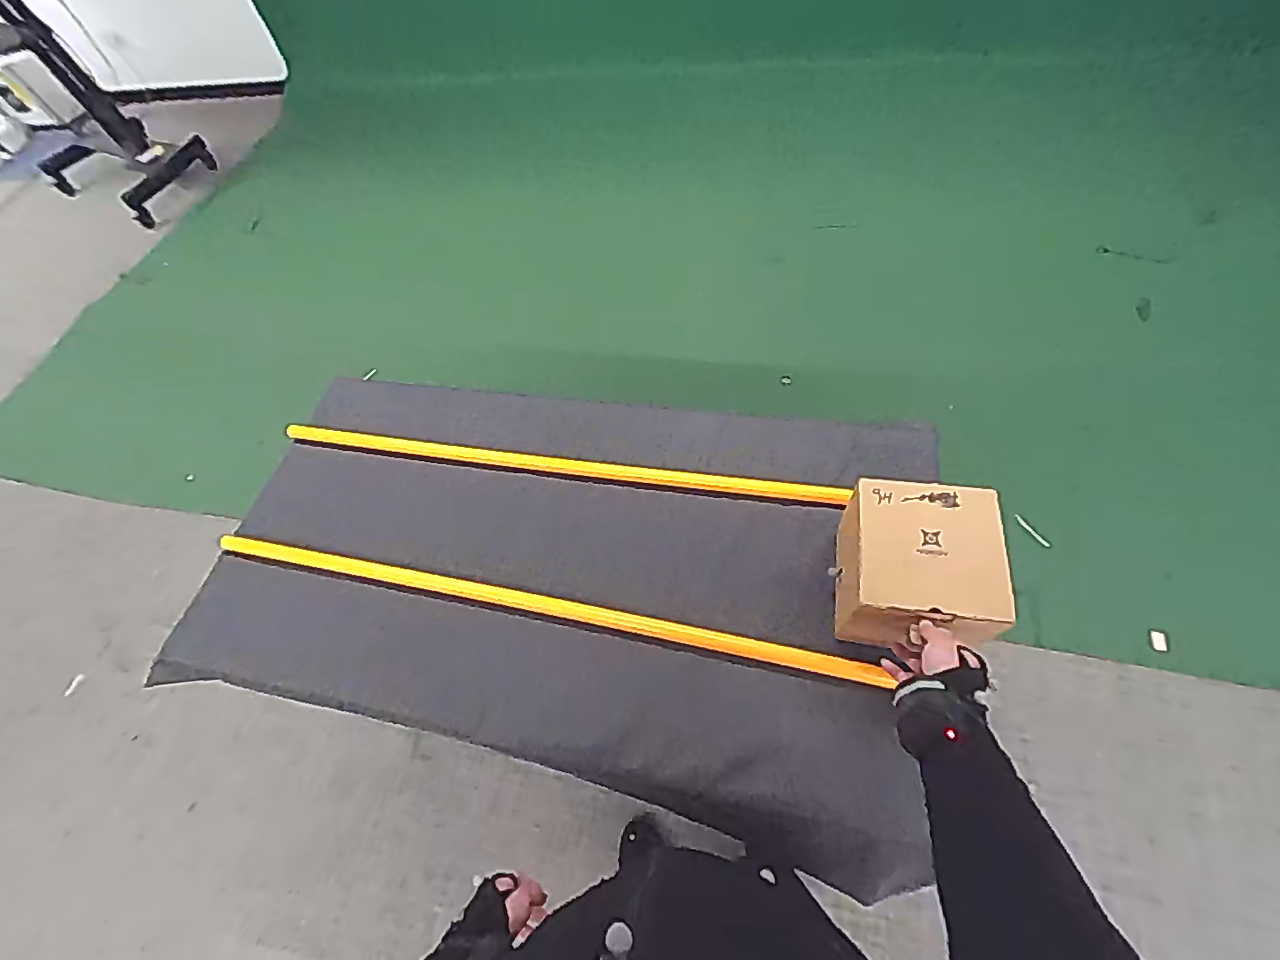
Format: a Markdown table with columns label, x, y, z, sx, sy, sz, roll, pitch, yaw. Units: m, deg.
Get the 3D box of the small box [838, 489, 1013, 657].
| label | x | y | z | sx | sy | sz | roll | pitch | yaw |
| --- | --- | --- | --- | --- | --- | --- | --- | --- | --- |
| small box | 0.366 | 0.129 | 0.729 | 0.168 | 0.176 | 0.179 | 2 | 59 | 12 |
